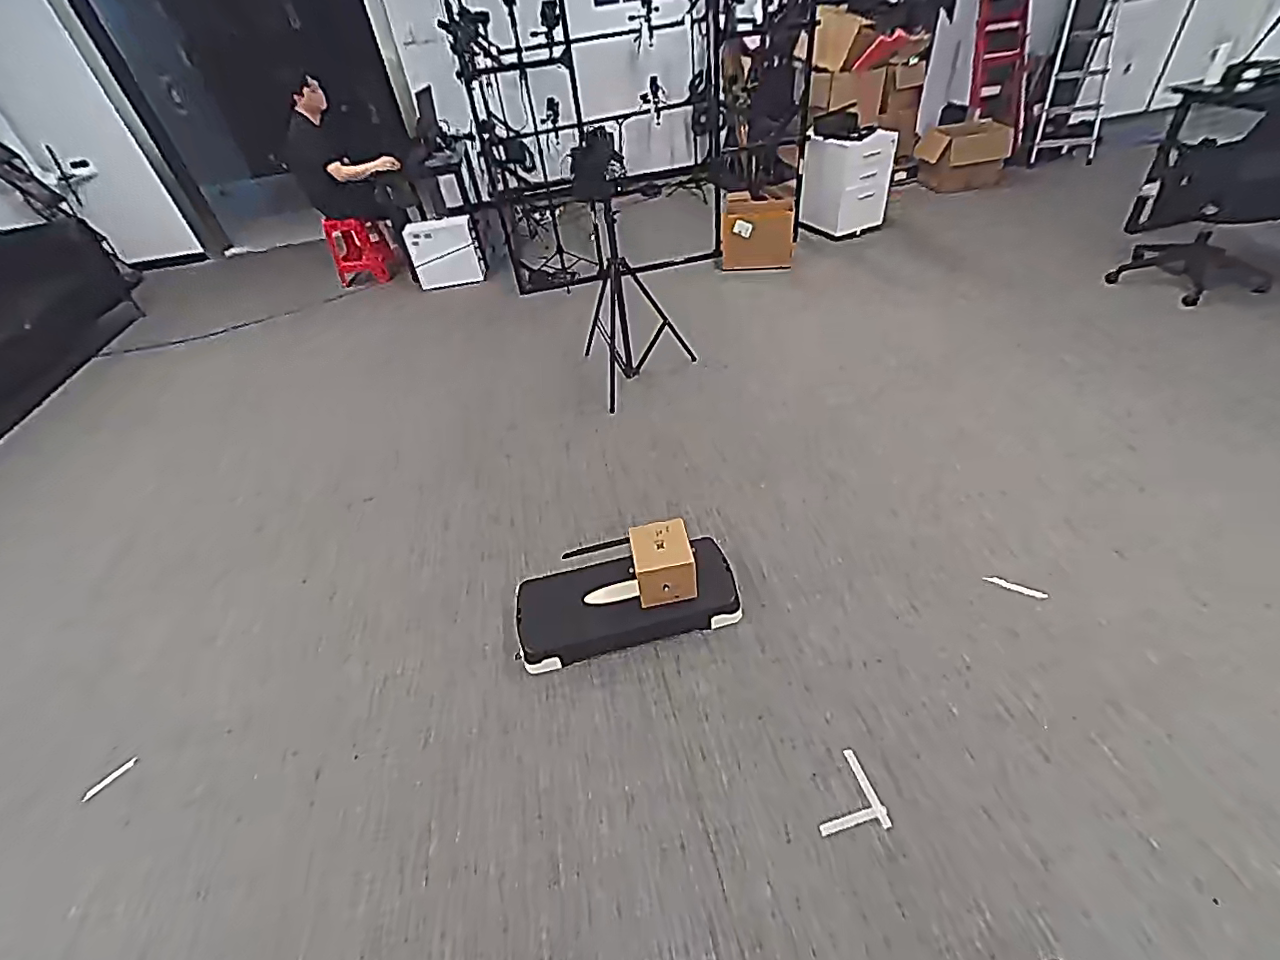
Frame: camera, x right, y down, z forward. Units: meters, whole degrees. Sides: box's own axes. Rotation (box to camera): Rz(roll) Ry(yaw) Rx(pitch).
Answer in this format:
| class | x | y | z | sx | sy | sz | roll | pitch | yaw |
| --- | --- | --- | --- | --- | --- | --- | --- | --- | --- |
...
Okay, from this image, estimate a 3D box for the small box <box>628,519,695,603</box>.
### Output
| class | x | y | z | sx | sy | sz | roll | pitch | yaw |
| --- | --- | --- | --- | --- | --- | --- | --- | --- | --- |
| small box | 0.065 | 0.244 | 1.591 | 0.168 | 0.176 | 0.179 | -10 | 41 | -2 |
